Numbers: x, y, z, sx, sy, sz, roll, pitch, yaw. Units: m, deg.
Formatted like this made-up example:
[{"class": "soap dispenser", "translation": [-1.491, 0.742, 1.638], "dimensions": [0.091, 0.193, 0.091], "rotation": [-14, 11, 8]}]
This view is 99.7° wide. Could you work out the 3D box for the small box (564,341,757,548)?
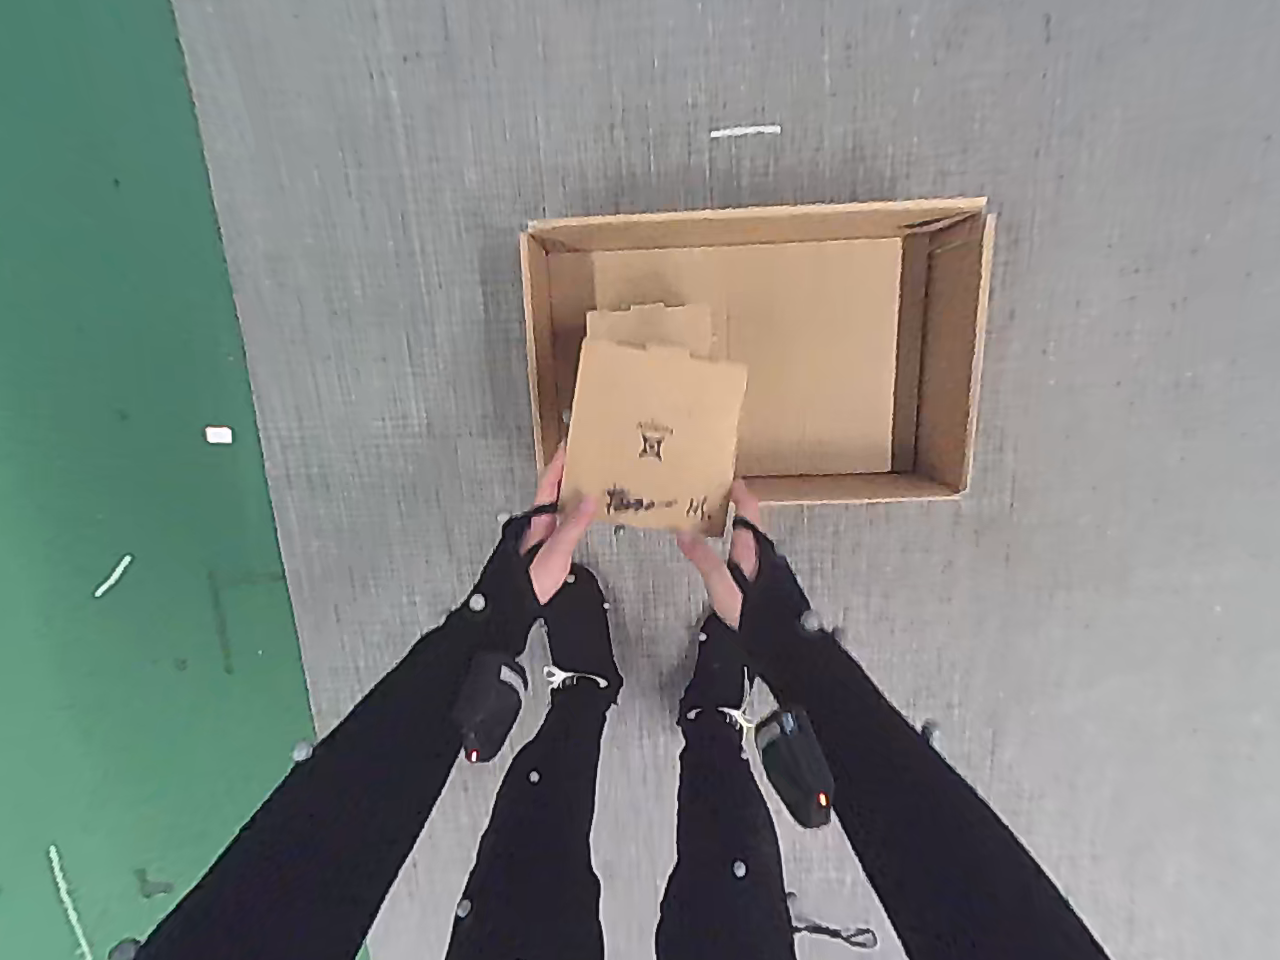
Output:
[{"class": "small box", "translation": [0.014, -0.030, 0.594], "dimensions": [0.168, 0.176, 0.179], "rotation": [10, 87, -5]}]
